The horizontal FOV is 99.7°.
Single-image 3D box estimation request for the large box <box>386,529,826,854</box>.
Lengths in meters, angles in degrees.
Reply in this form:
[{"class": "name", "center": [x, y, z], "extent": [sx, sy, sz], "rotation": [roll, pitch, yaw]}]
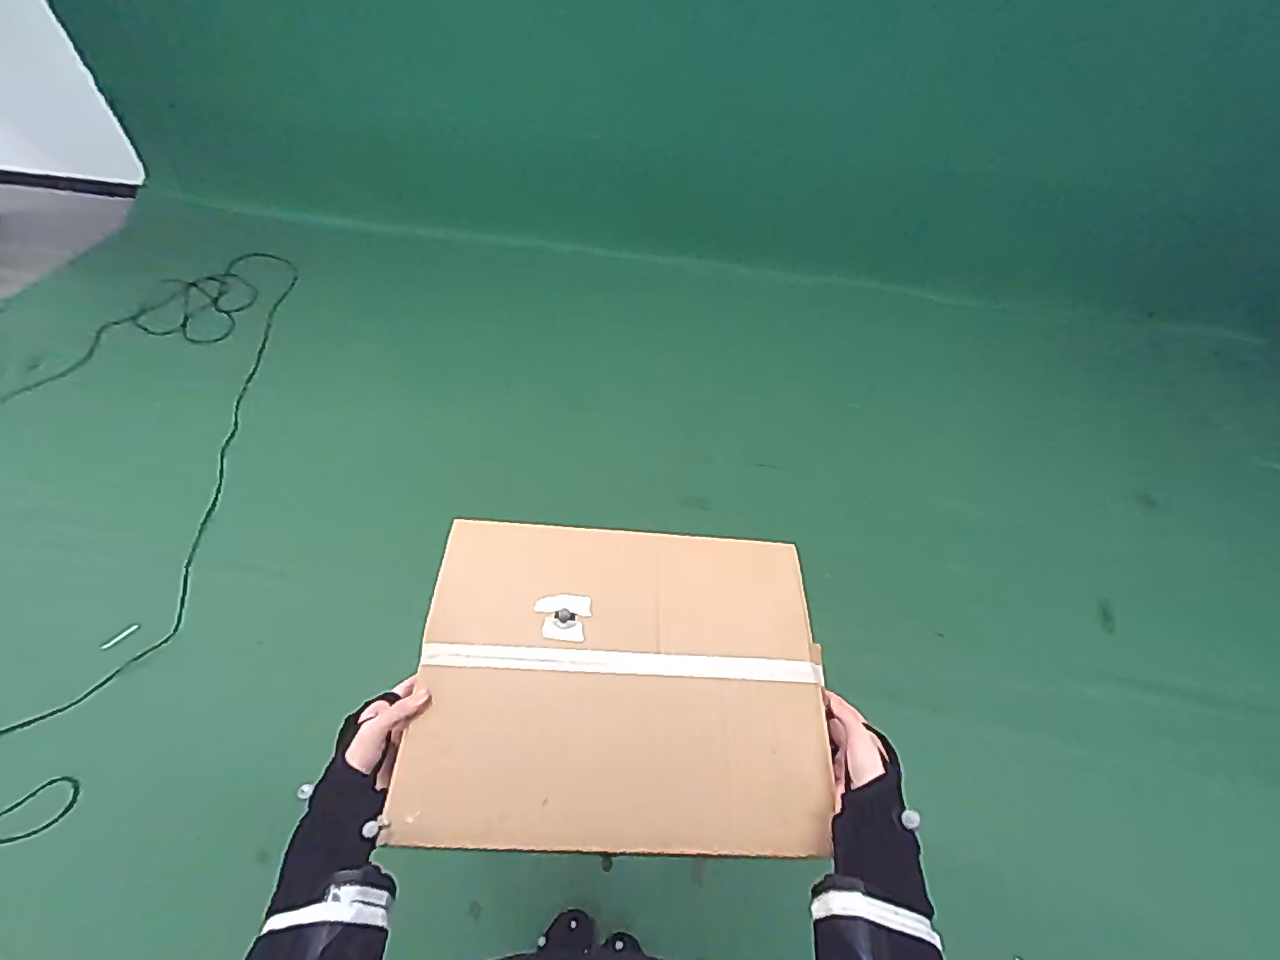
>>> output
[{"class": "large box", "center": [-0.034, 0.278, 0.687], "extent": [0.408, 0.320, 0.320], "rotation": [5, 55, -4]}]
